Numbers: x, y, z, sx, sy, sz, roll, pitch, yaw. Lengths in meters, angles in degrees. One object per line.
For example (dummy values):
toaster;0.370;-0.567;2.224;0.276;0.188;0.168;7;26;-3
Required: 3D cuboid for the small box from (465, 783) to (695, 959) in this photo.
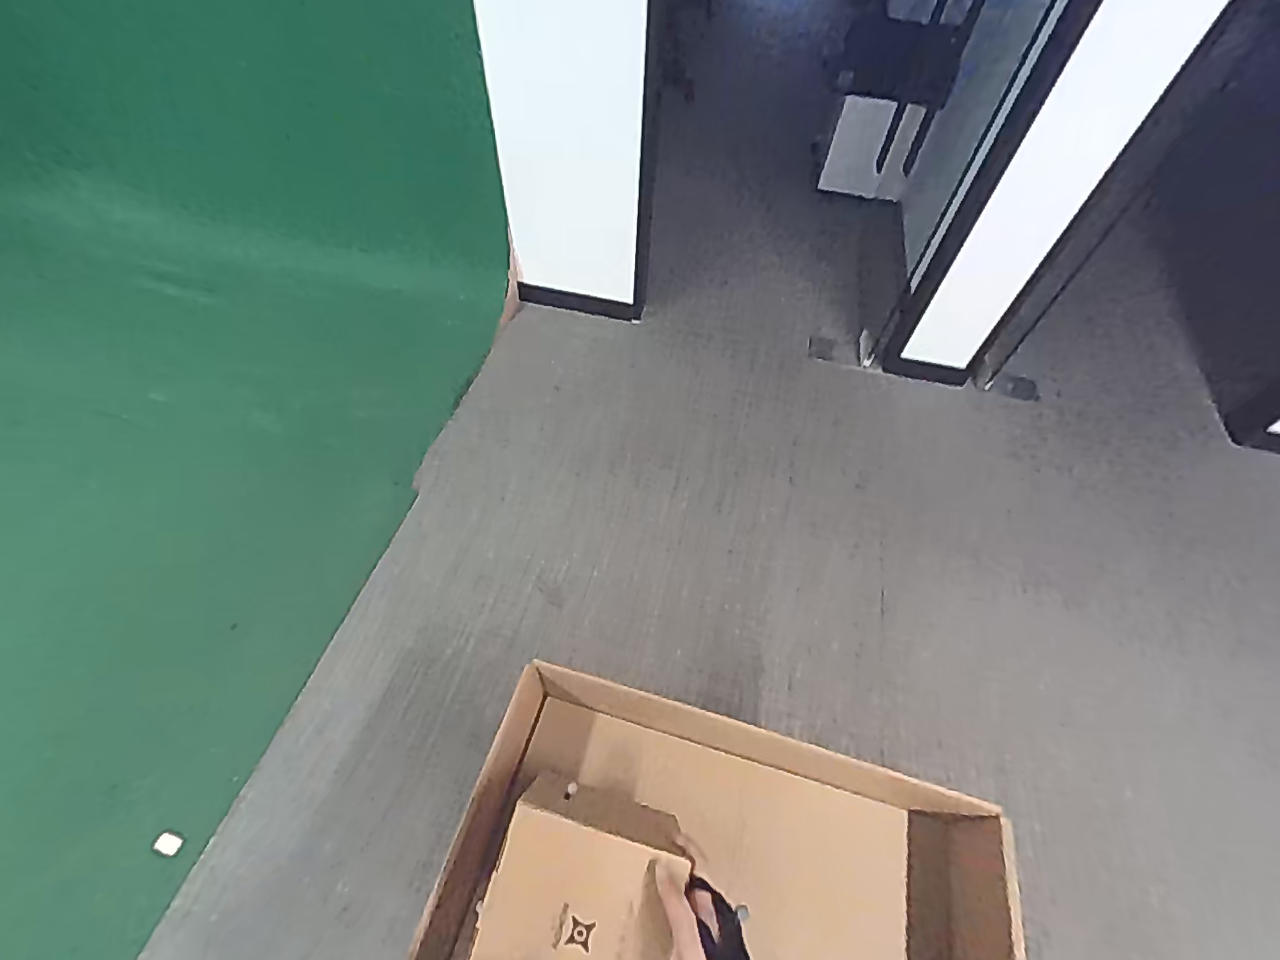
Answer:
small box;-0.056;0.430;0.550;0.179;0.176;0.168;17;71;5
